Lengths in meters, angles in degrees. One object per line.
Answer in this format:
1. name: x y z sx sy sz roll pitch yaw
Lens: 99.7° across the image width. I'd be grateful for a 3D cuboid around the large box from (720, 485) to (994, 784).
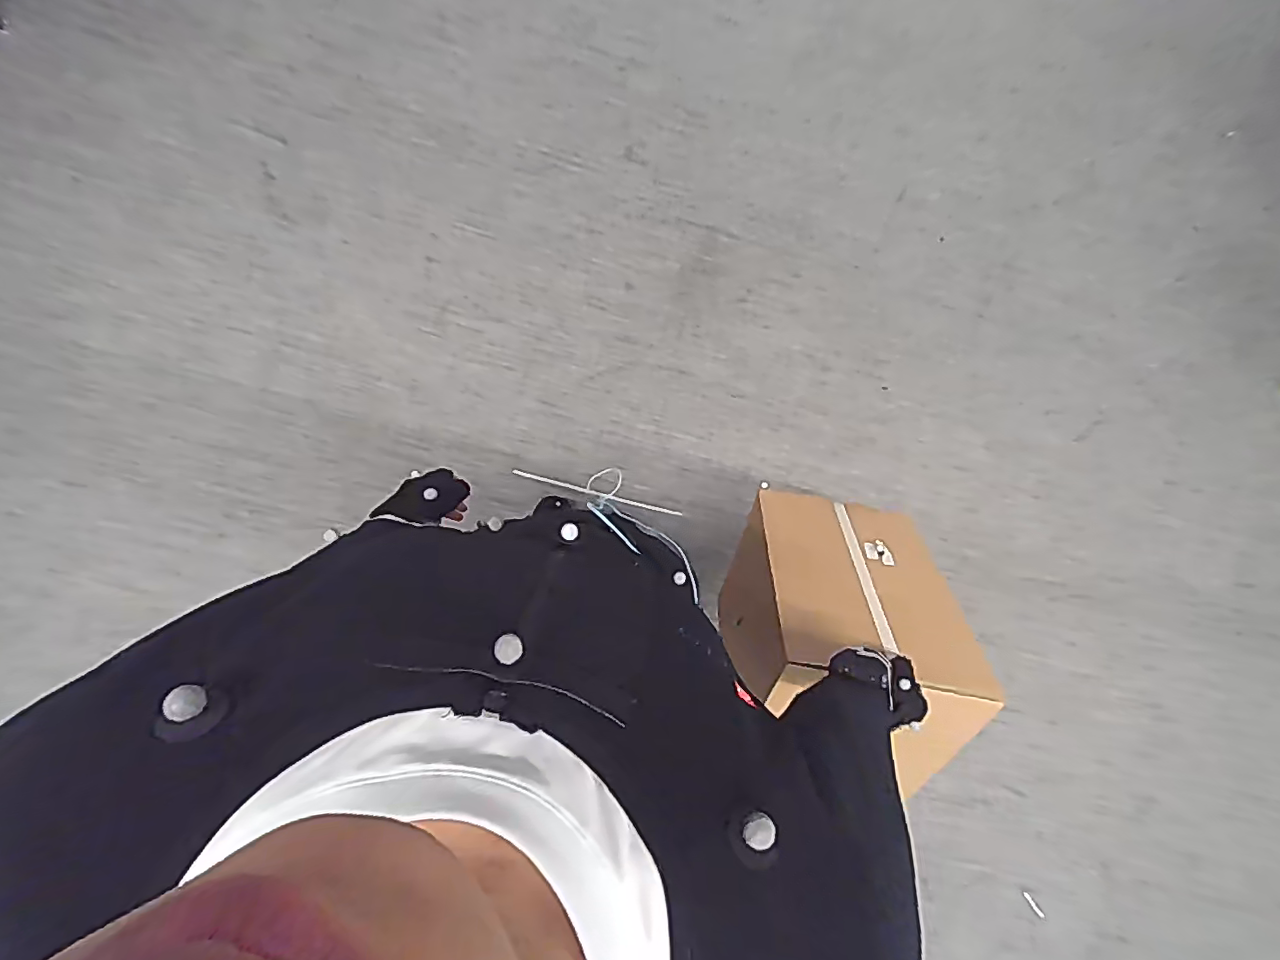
1. large box: 0.339 0.269 0.996 0.320 0.408 0.320 12 125 -2
